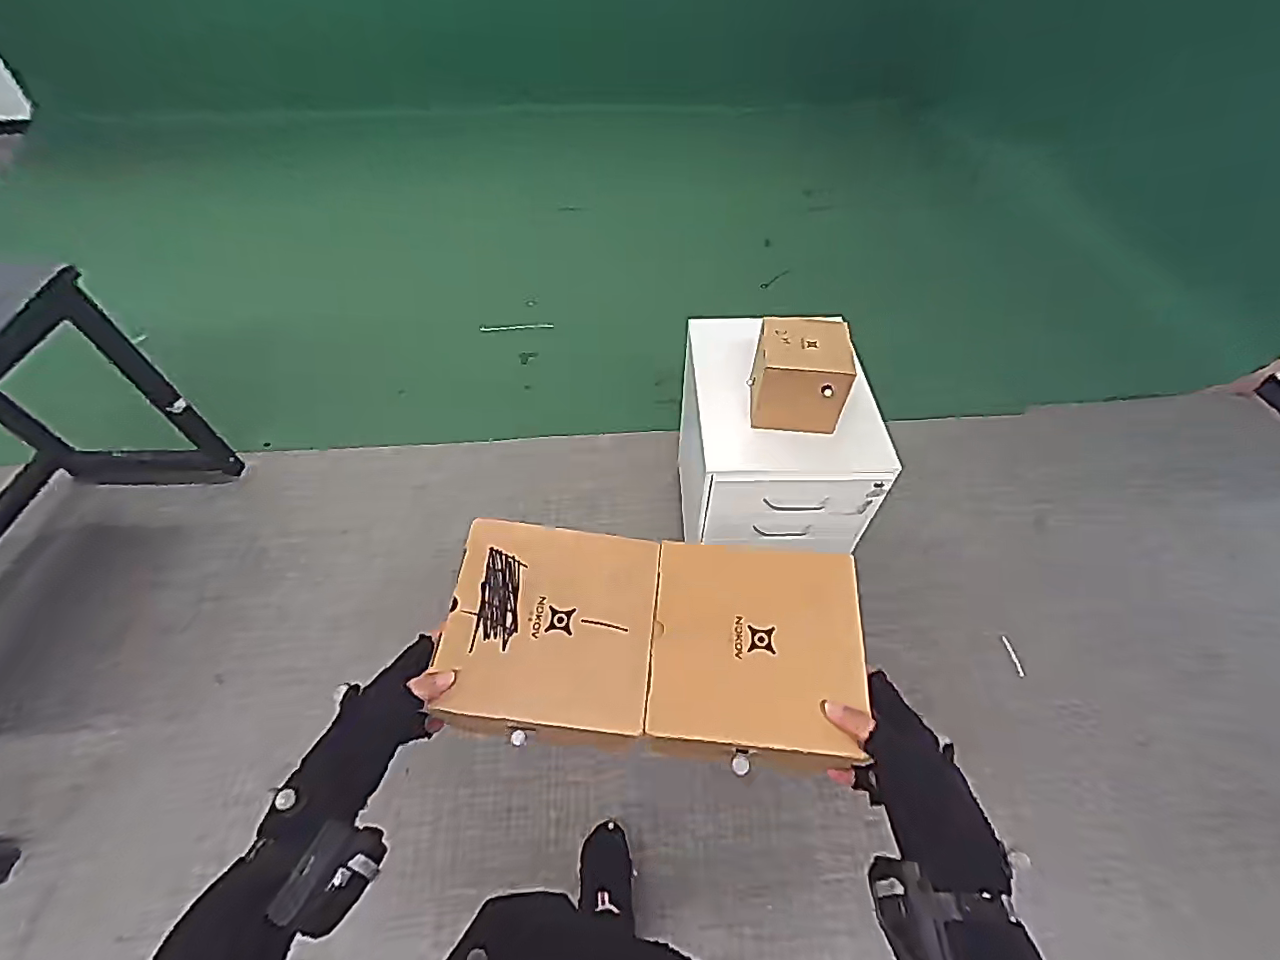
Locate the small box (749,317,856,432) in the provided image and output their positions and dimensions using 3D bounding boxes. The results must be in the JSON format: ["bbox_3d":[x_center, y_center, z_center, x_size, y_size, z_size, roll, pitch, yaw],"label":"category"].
[{"bbox_3d":[0.330,-0.217,1.132,0.179,0.176,0.168,5,52,5],"label":"small box"}]
